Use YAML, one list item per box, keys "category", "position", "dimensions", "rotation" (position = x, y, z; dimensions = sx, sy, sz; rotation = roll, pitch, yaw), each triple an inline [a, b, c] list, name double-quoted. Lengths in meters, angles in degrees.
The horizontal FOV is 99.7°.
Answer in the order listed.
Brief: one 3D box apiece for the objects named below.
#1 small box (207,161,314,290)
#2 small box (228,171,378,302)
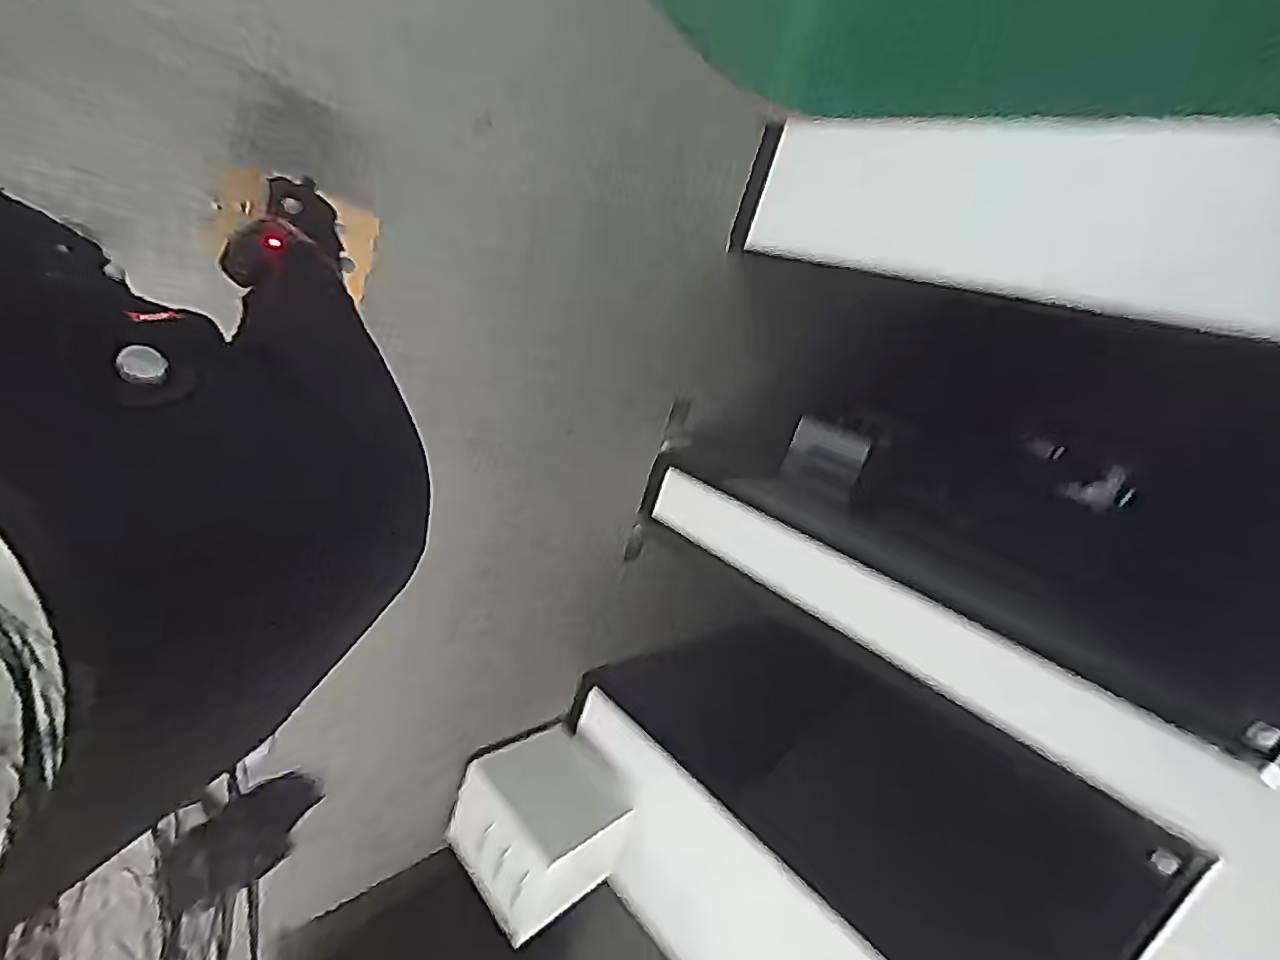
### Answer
- category: "small box"
  position: [-0.742, -0.511, 1.089]
  dimensions: [0.168, 0.176, 0.179]
  rotation: [8, 107, -53]
- category: "small box"
  position: [-0.622, -0.449, 0.998]
  dimensions: [0.179, 0.176, 0.168]
  rotation: [6, 106, -51]
